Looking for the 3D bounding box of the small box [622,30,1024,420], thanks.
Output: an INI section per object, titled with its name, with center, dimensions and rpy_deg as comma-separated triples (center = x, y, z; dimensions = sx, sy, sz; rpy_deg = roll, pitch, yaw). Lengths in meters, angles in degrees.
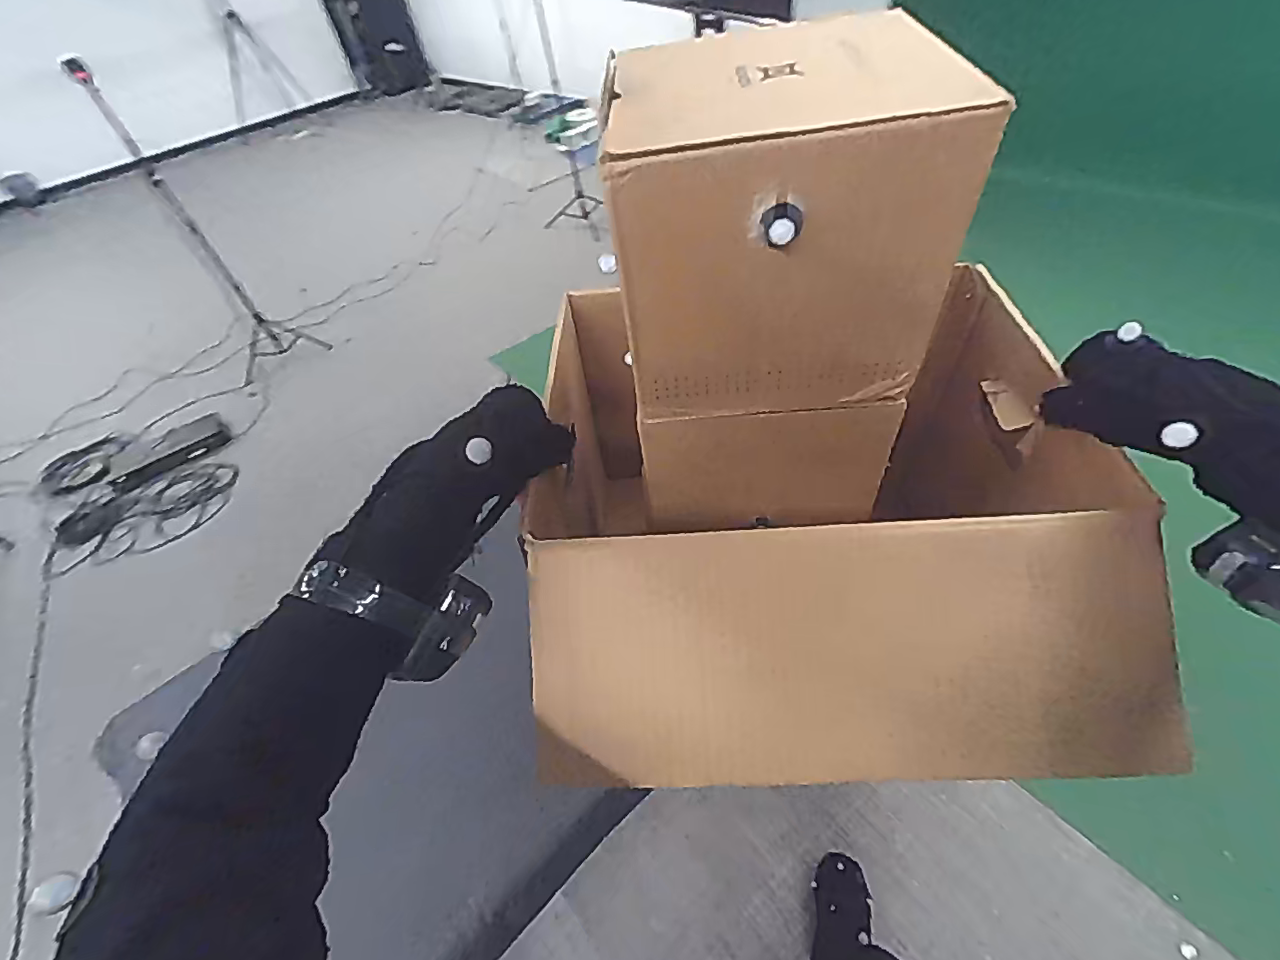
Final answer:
[small box]
center = 0.088, -0.153, 0.347
dimensions = 0.179, 0.176, 0.168
rpy_deg = -3, 52, 5
